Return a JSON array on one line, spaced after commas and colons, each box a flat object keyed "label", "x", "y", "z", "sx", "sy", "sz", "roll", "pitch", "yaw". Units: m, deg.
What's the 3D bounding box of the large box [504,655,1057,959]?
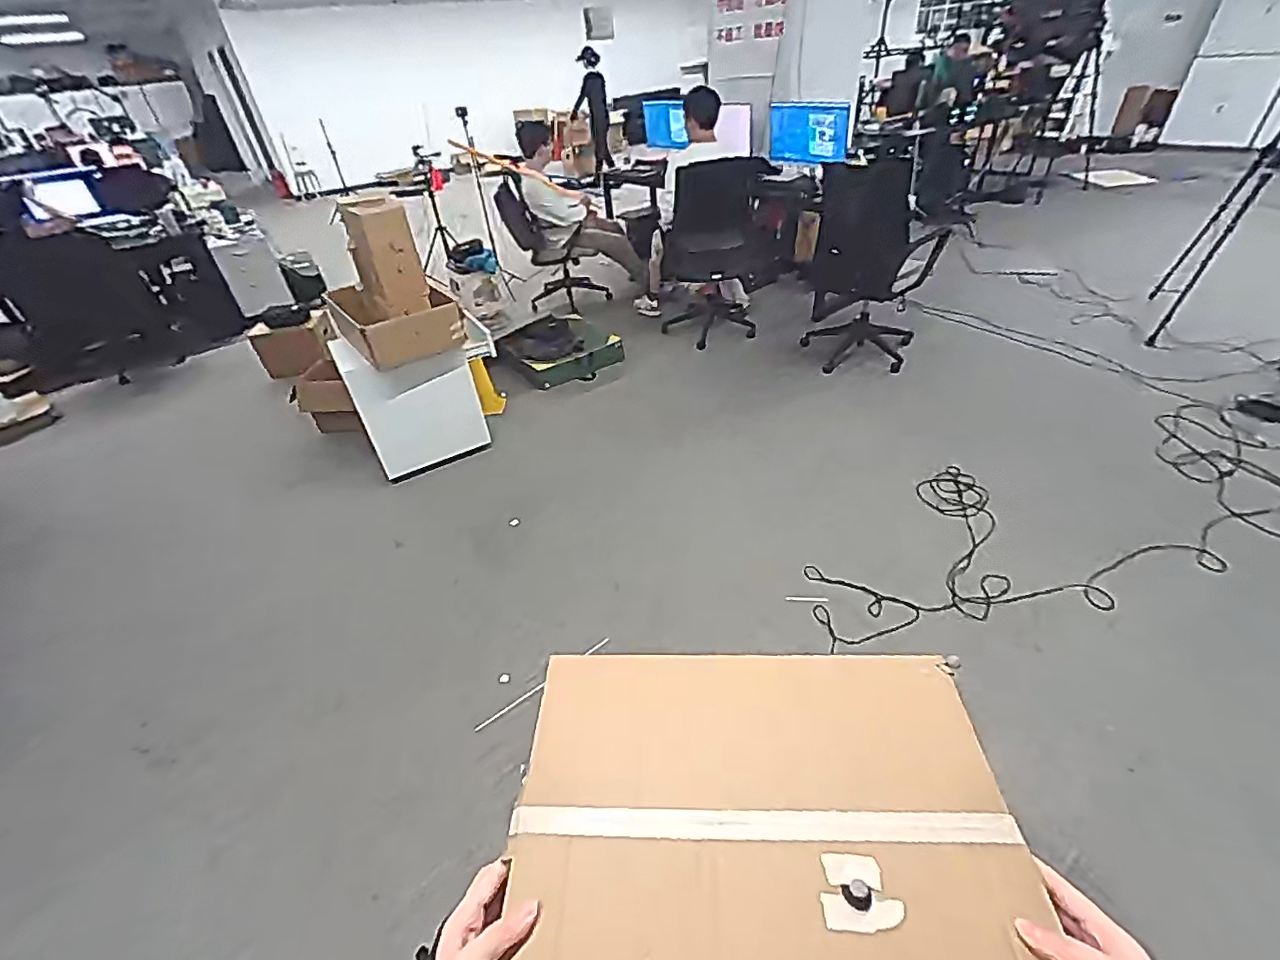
[{"label": "large box", "x": 0.106, "y": 0.400, "z": 0.553, "sx": 0.408, "sy": 0.320, "sz": 0.320, "roll": -1, "pitch": 40, "yaw": 4}]
